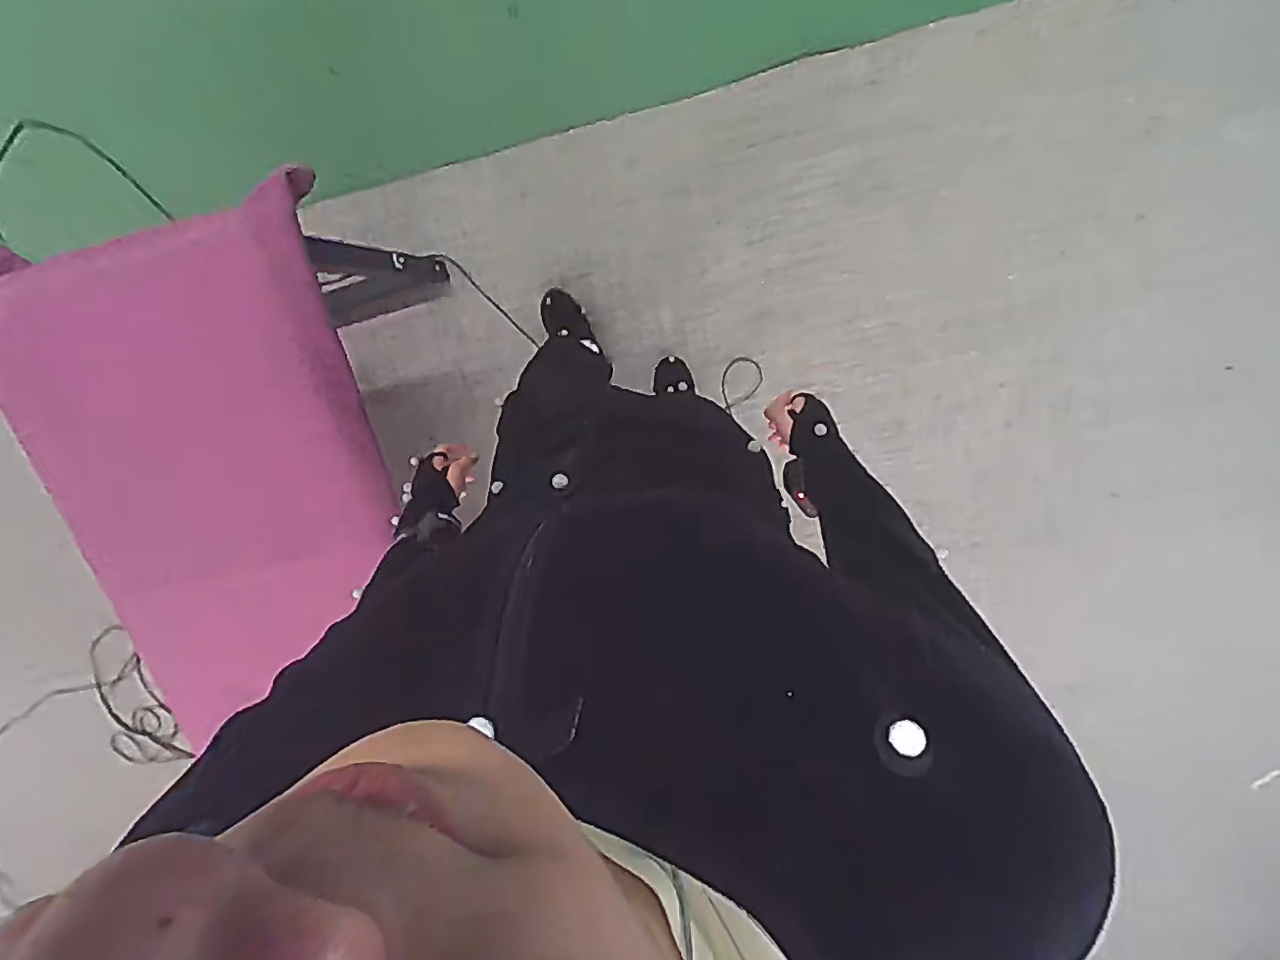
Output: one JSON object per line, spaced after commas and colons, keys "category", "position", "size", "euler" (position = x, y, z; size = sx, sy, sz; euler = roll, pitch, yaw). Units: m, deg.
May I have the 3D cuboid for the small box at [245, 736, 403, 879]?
{"category": "small box", "position": [-0.615, 0.642, 1.073], "size": [0.179, 0.176, 0.168], "euler": [-16, 105, 11]}
